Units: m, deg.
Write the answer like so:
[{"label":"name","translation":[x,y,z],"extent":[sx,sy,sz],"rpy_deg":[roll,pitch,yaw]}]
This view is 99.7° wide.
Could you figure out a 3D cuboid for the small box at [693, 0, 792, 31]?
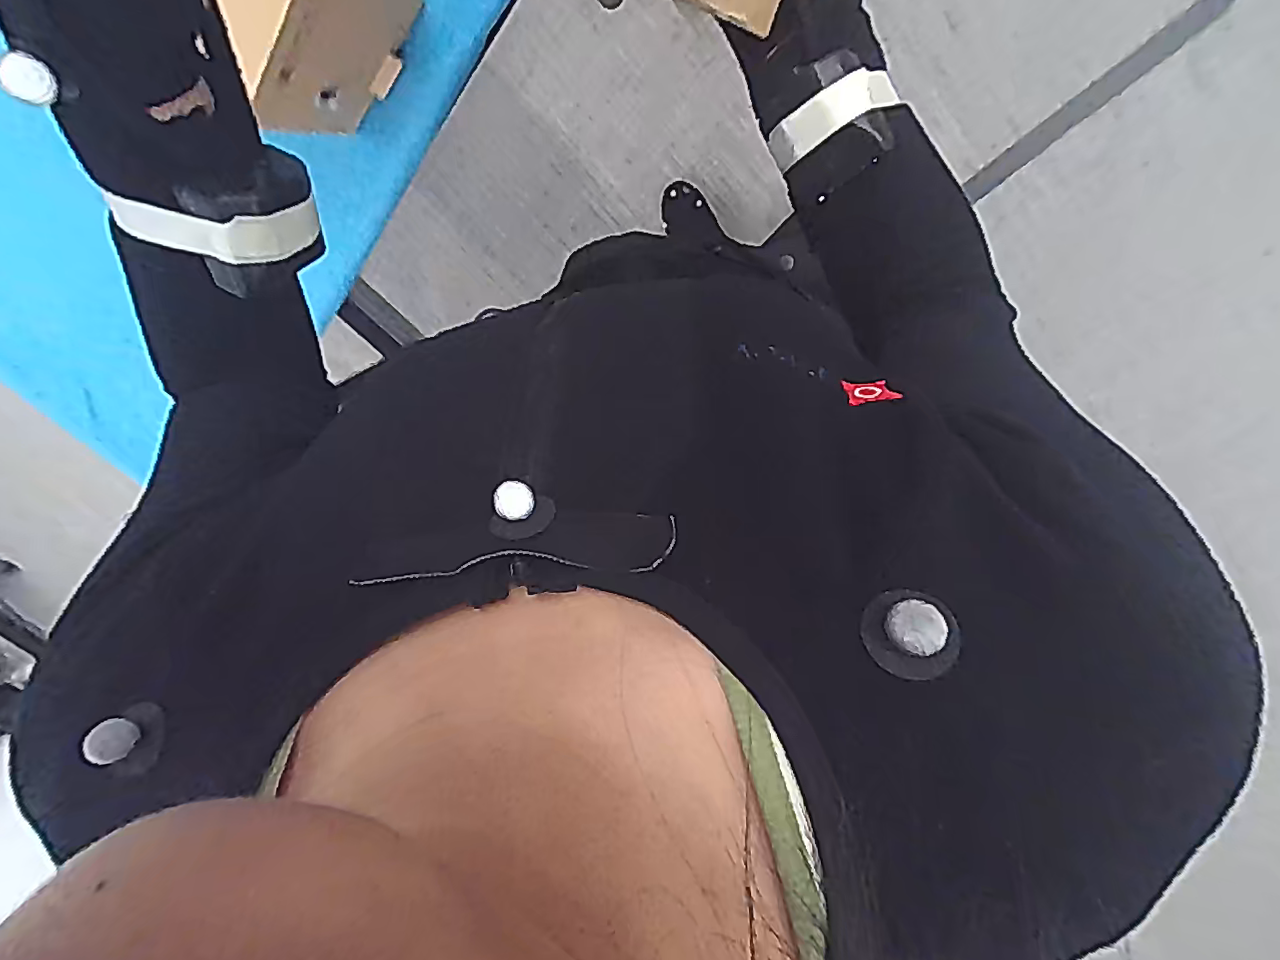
[{"label":"small box","translation":[-0.002,-0.308,0.204],"extent":[0.179,0.176,0.168],"rpy_deg":[28,128,5]}]

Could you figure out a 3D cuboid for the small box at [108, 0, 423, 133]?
[{"label":"small box","translation":[-0.348,-0.458,0.497],"extent":[0.179,0.176,0.168],"rpy_deg":[44,120,-14]}]
